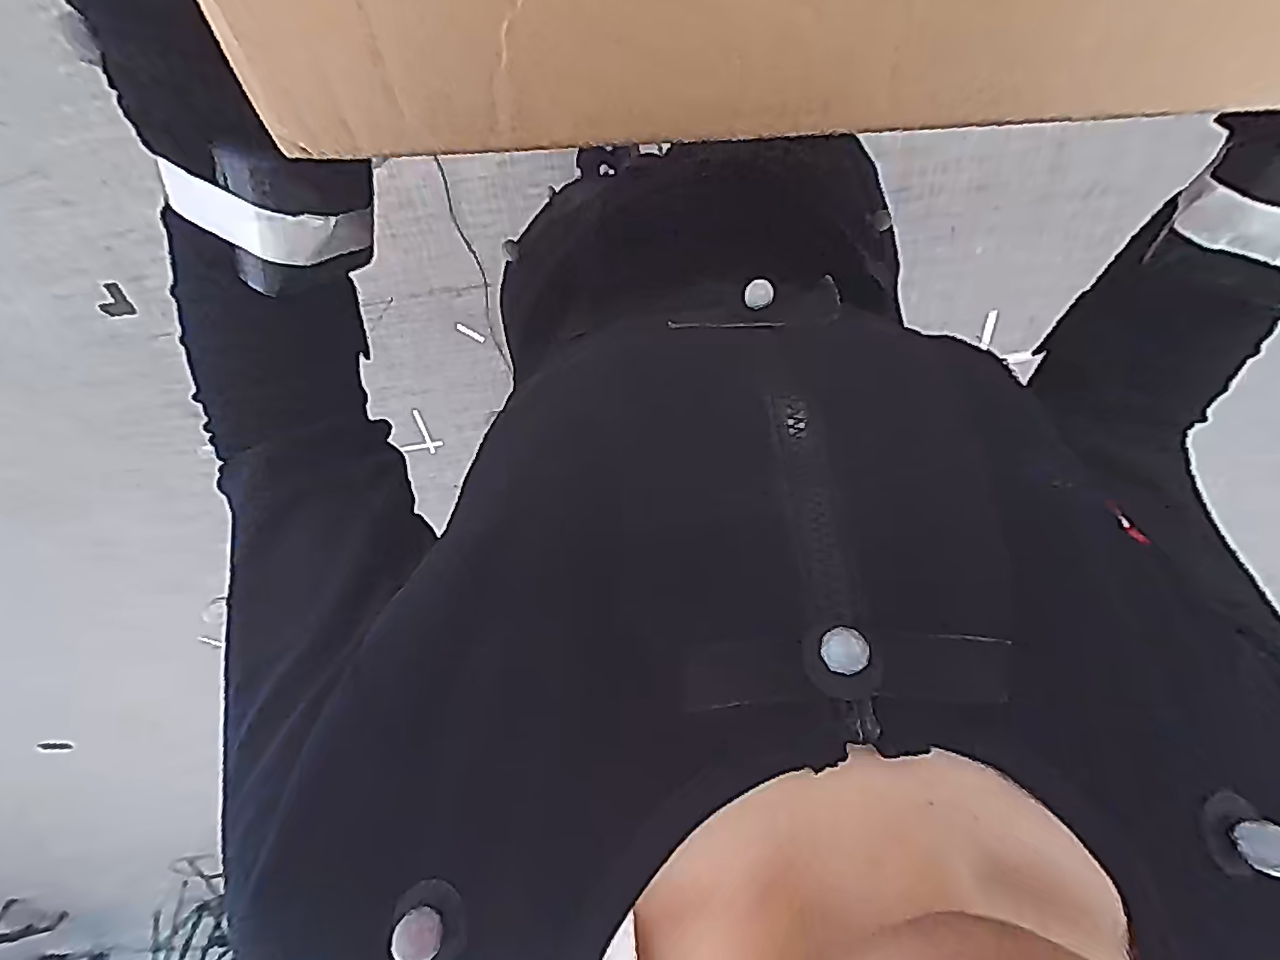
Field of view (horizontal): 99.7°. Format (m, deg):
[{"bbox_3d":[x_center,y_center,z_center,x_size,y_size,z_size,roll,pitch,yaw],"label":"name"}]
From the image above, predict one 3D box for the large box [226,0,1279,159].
[{"bbox_3d":[0.059,-0.344,0.171,0.408,0.320,0.320,-2,142,0],"label":"large box"}]
